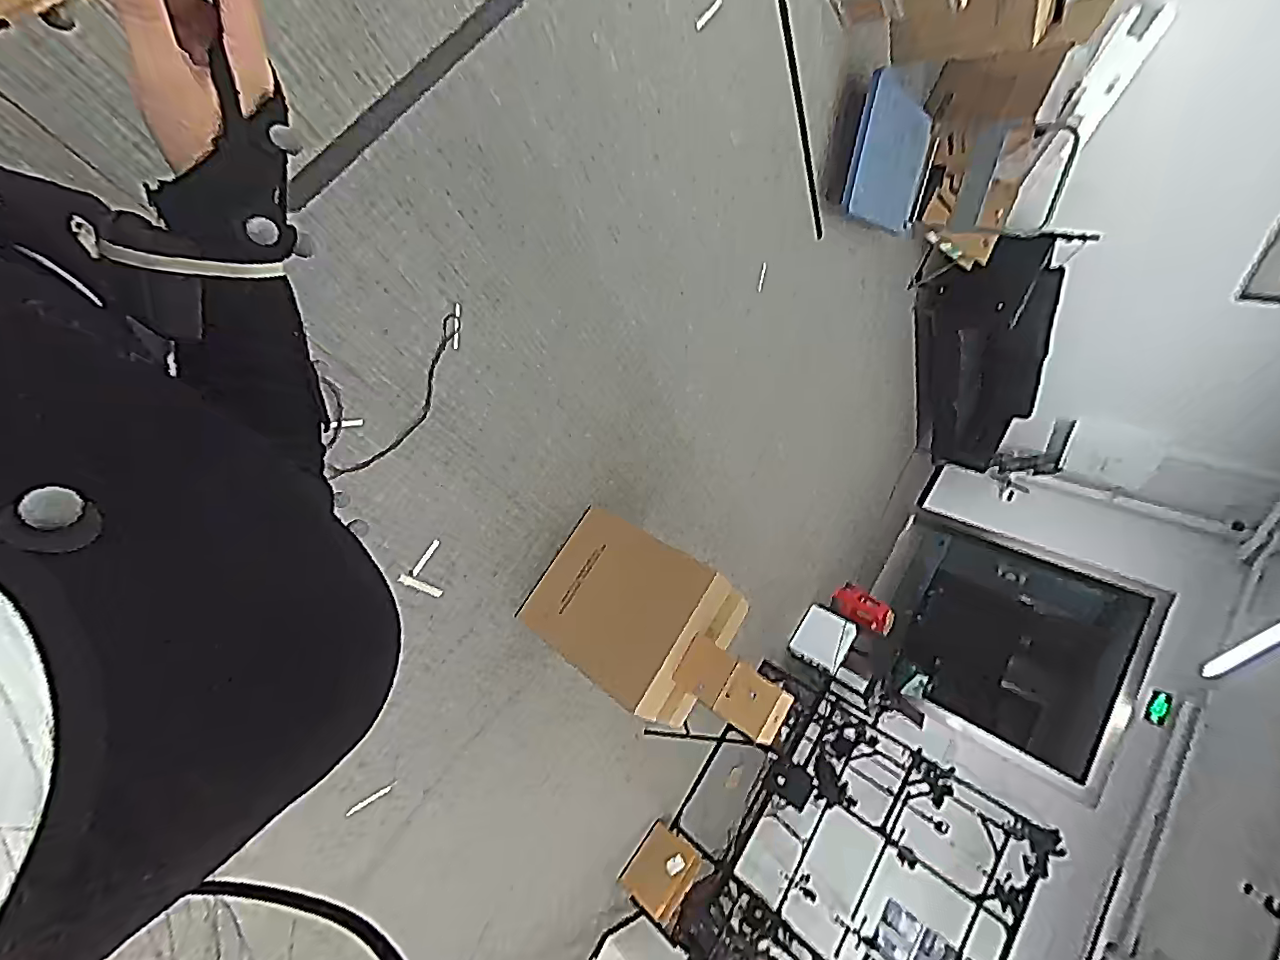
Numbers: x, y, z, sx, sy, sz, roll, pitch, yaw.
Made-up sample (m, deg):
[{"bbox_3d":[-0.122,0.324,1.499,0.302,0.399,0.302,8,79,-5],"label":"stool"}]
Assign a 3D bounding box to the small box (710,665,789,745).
[{"bbox_3d":[0.346,0.712,1.715,0.168,0.176,0.179,-57,144,-11],"label":"small box"}]
